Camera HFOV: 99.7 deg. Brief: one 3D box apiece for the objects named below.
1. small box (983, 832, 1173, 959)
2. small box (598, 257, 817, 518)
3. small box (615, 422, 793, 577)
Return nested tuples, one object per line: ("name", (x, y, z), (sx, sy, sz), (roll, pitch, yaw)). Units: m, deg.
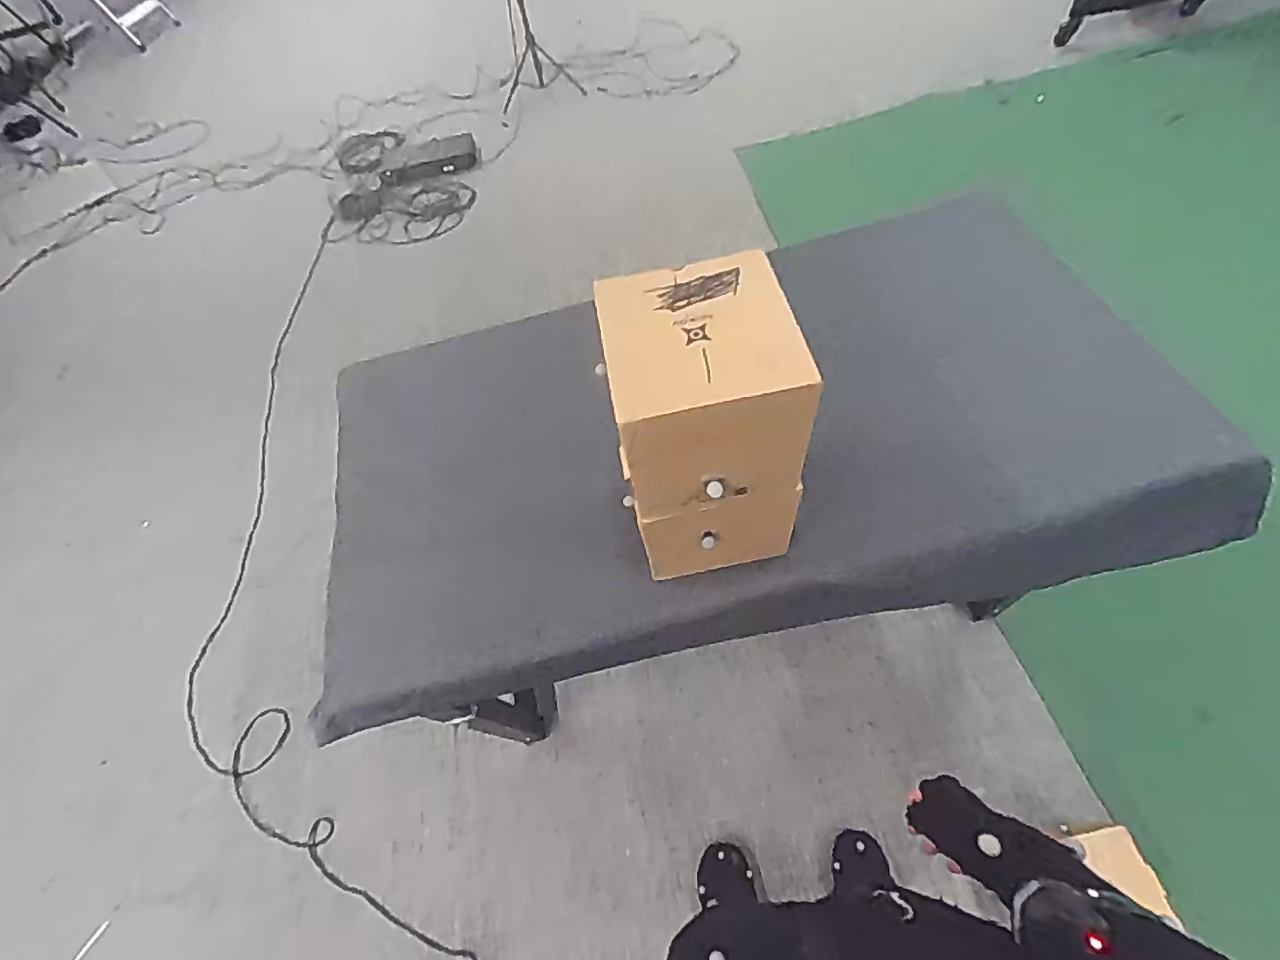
("small box", (0.775, 0.754, 0.982), (0.179, 0.176, 0.168), (-14, 57, 1))
("small box", (0.057, -0.085, 0.537), (0.168, 0.176, 0.179), (-10, 58, 2))
("small box", (0.076, 0.007, 0.673), (0.179, 0.176, 0.168), (-11, 58, 1))
